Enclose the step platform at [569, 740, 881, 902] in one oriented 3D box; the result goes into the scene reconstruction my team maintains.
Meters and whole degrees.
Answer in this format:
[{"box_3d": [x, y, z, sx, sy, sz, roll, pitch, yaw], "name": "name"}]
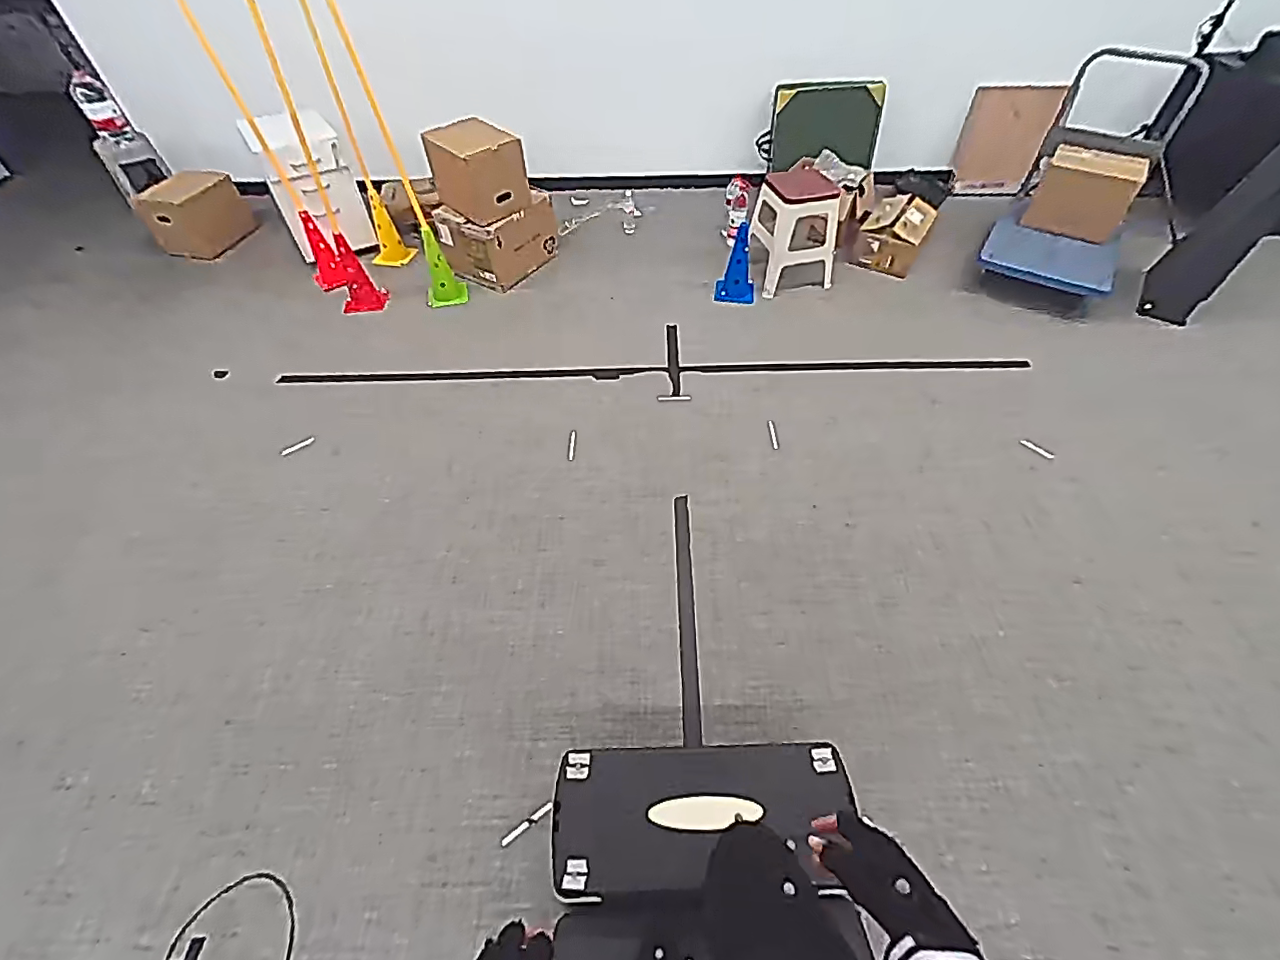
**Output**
[{"box_3d": [0.179, 0.779, 1.249, 0.684, 0.204, 0.286, -2, 50, -2], "name": "step platform"}]
